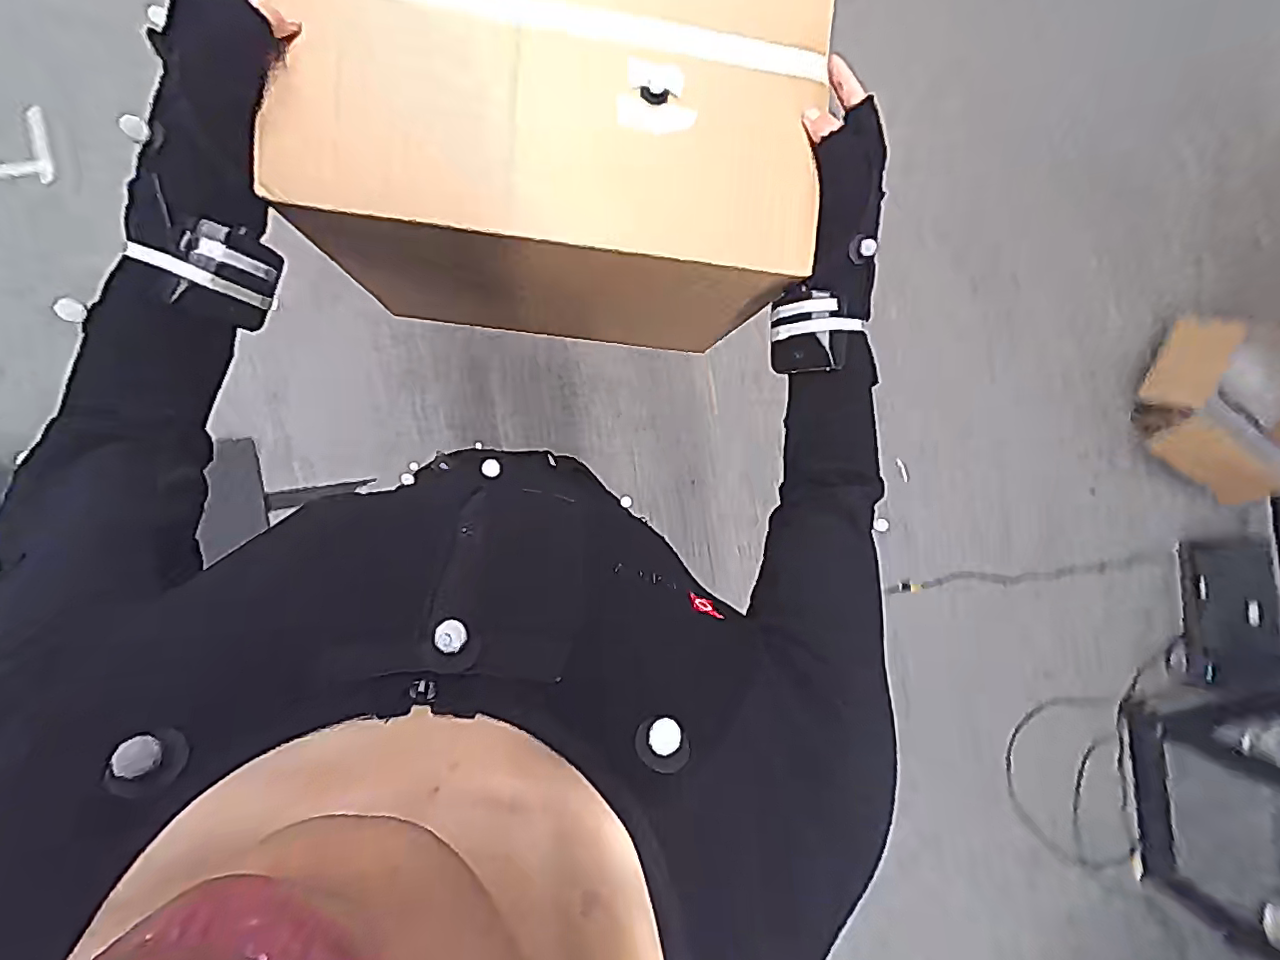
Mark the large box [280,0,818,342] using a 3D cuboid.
[{"bbox_3d":[-0.079,-0.343,0.558,0.408,0.320,0.320,3,92,-9],"label":"large box"}]
